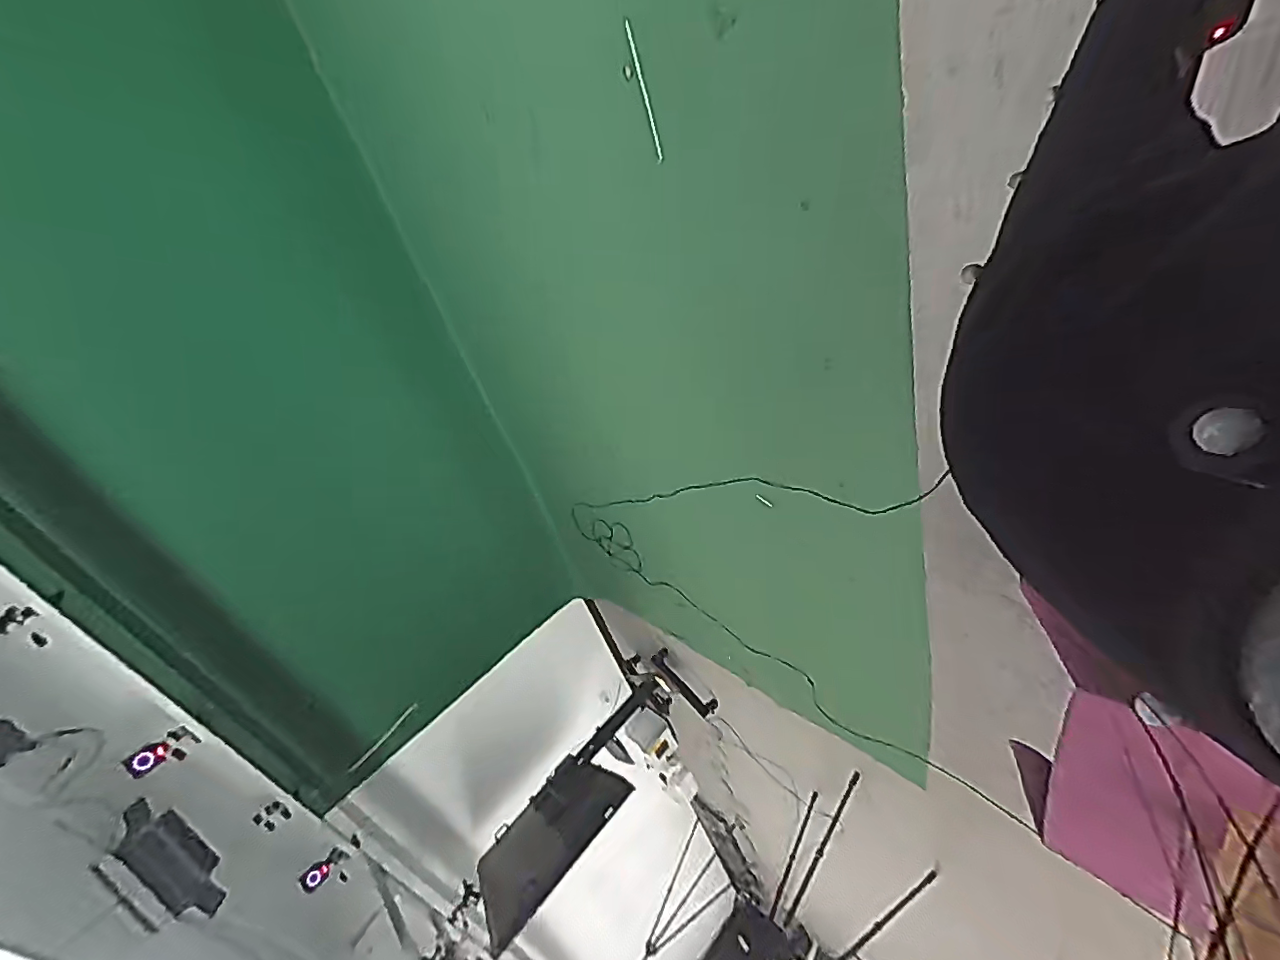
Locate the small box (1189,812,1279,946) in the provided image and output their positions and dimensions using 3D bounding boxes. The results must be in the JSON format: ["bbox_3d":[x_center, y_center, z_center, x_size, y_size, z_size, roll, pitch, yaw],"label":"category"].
[{"bbox_3d":[0.938,0.629,0.775,0.179,0.176,0.168,15,135,47],"label":"small box"}]

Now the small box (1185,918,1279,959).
[{"bbox_3d":[0.825,0.717,0.695,0.179,0.176,0.168,16,137,46],"label":"small box"}]
